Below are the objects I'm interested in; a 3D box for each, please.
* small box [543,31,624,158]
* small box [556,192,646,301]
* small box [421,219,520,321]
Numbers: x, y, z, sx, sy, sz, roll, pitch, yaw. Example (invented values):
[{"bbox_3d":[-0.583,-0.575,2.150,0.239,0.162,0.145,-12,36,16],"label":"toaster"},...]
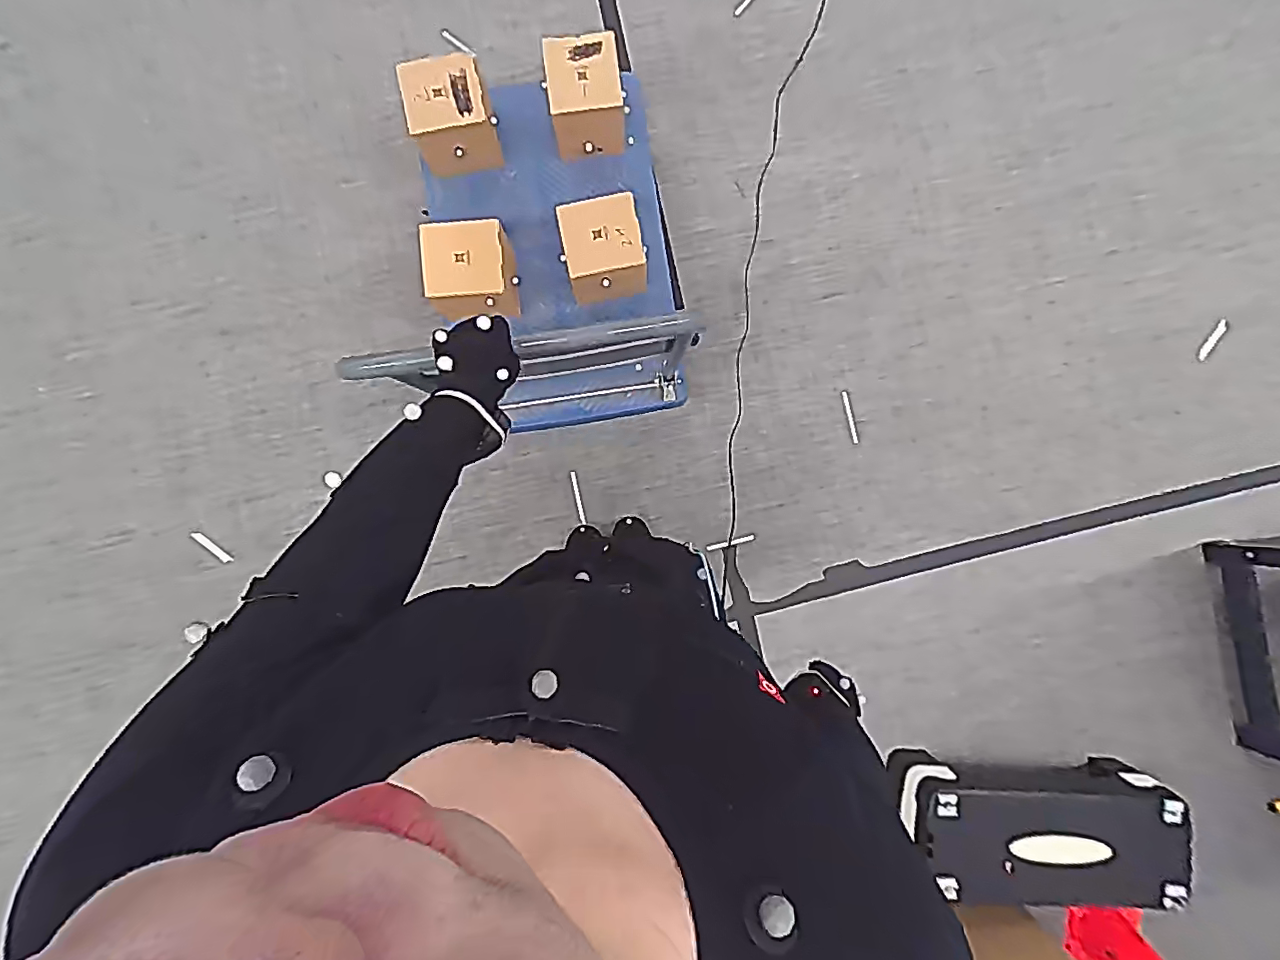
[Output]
[{"bbox_3d":[-0.129,-0.905,1.280,0.168,0.176,0.179,-8,89,-1],"label":"small box"},{"bbox_3d":[-0.085,-0.537,1.268,0.179,0.176,0.168,-12,89,-1],"label":"small box"},{"bbox_3d":[-0.389,-0.482,1.262,0.179,0.176,0.168,-6,88,-3],"label":"small box"}]
